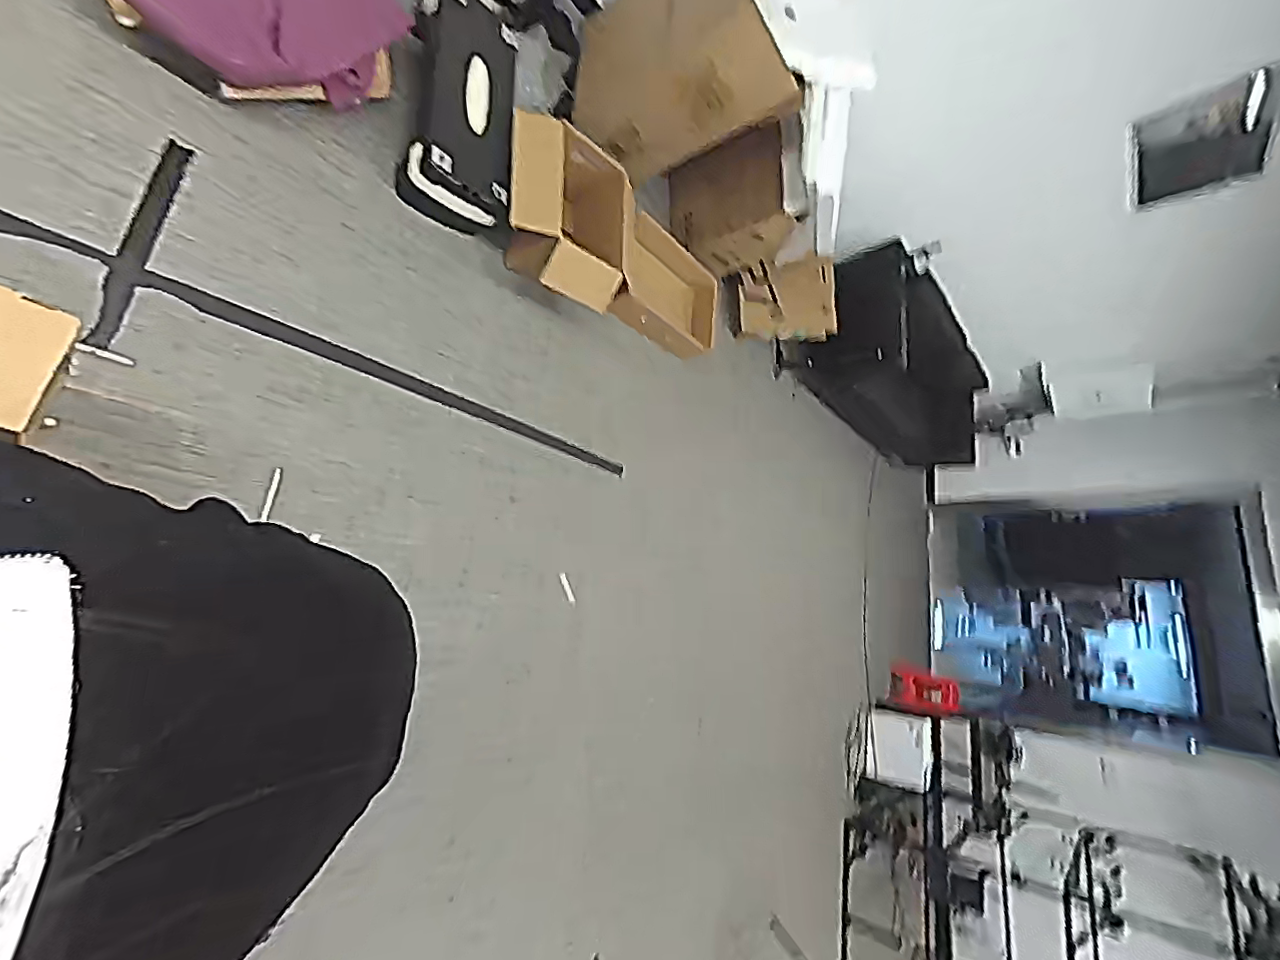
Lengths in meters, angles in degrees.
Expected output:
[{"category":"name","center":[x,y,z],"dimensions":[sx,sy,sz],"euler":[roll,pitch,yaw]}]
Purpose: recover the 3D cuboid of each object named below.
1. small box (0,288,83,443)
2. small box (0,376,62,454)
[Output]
[{"category":"small box","center":[-0.905,-0.164,0.725],"dimensions":[0.168,0.176,0.179],"euler":[28,67,-44]},{"category":"small box","center":[-1.158,-0.152,0.933],"dimensions":[0.179,0.176,0.168],"euler":[28,65,-45]}]
